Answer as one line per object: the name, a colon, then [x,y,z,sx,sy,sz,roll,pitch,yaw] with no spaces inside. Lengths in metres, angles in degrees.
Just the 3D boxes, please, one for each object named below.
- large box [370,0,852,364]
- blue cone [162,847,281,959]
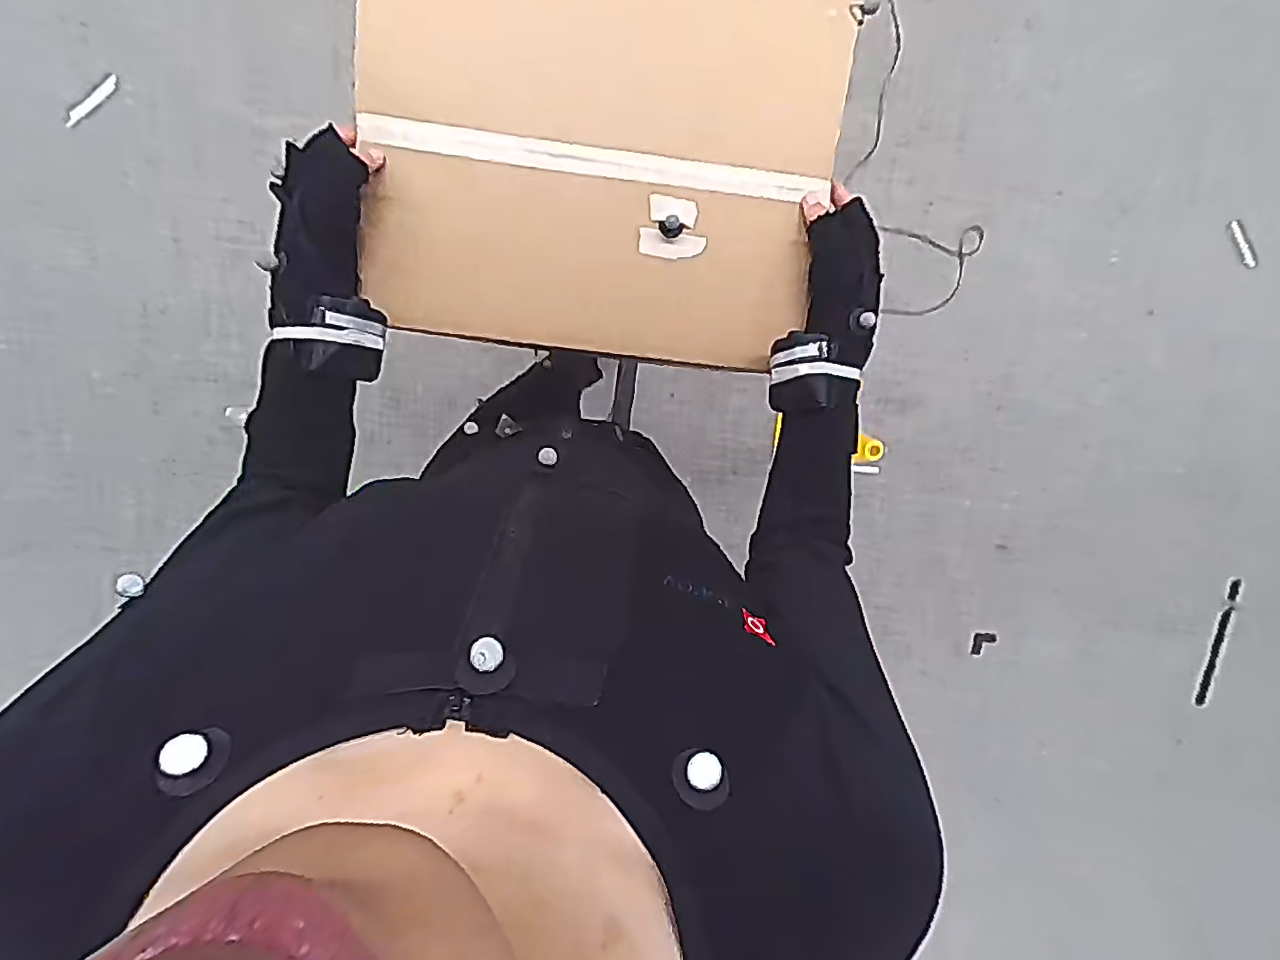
large box: [-0.041,-0.310,0.617,0.408,0.320,0.320,6,102,-5]
blue cone: [-1.143,1.184,1.413,0.192,0.380,0.193,9,98,-3]
